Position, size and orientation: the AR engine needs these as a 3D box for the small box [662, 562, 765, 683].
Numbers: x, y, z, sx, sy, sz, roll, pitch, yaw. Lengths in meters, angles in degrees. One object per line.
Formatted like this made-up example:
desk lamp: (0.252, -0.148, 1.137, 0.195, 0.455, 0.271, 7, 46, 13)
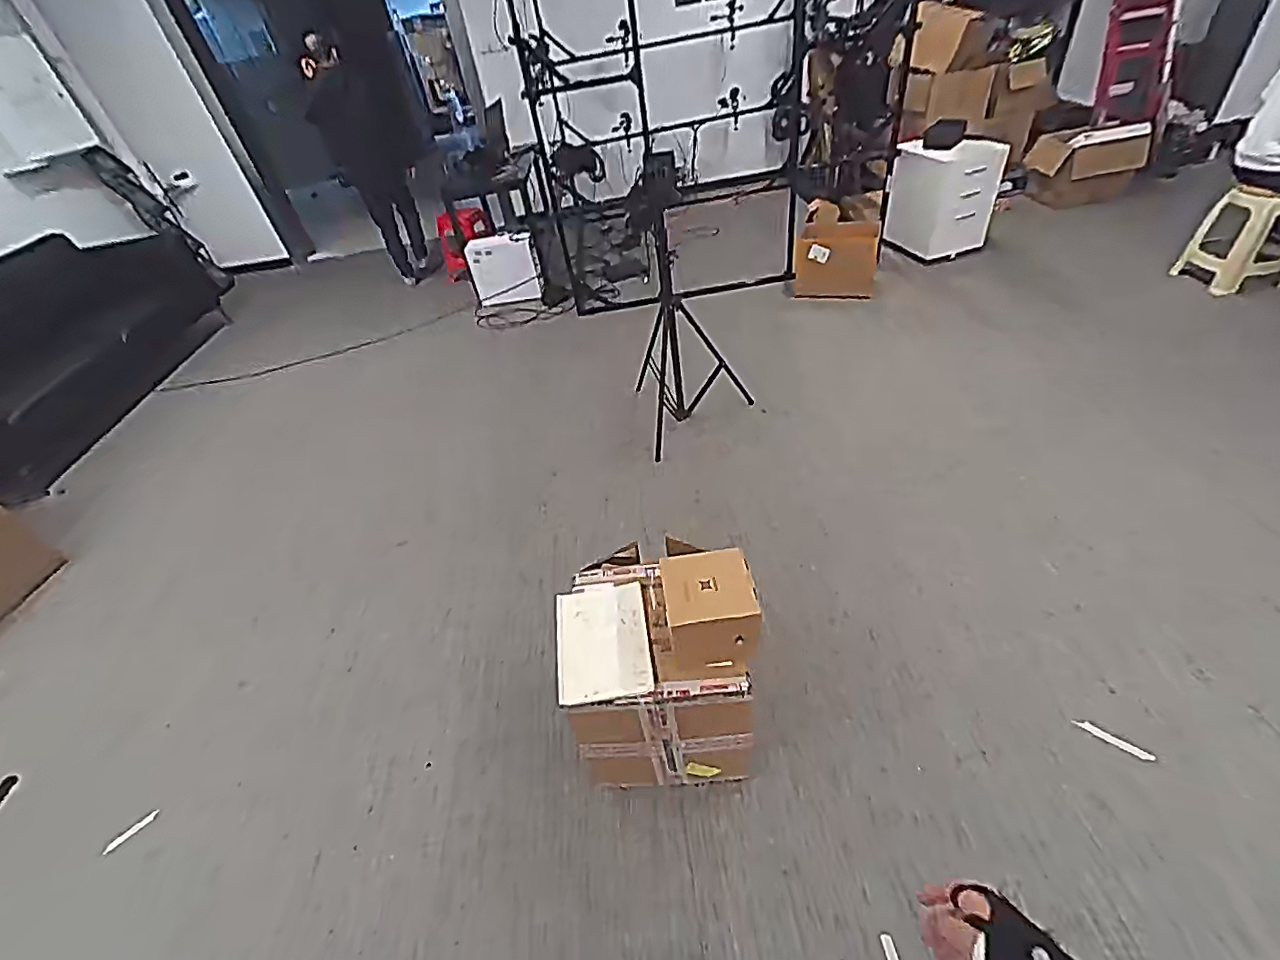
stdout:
small box: (0.147, 0.294, 1.111, 0.179, 0.176, 0.168, -9, 42, 0)
